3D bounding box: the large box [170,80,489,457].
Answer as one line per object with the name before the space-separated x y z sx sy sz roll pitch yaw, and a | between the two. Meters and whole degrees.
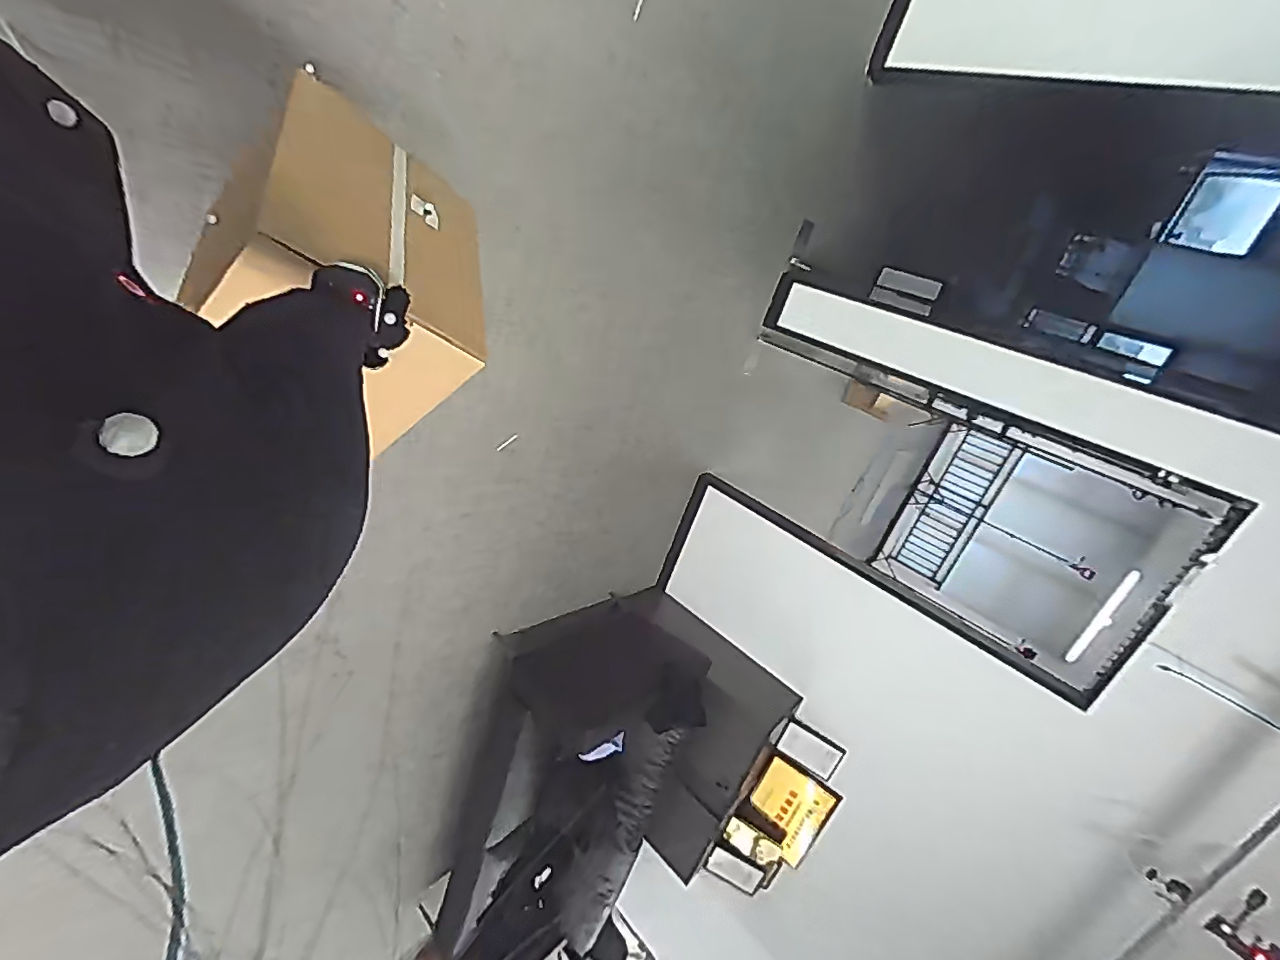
large box | -0.479 -0.310 0.871 0.320 0.408 0.320 -31 145 25
